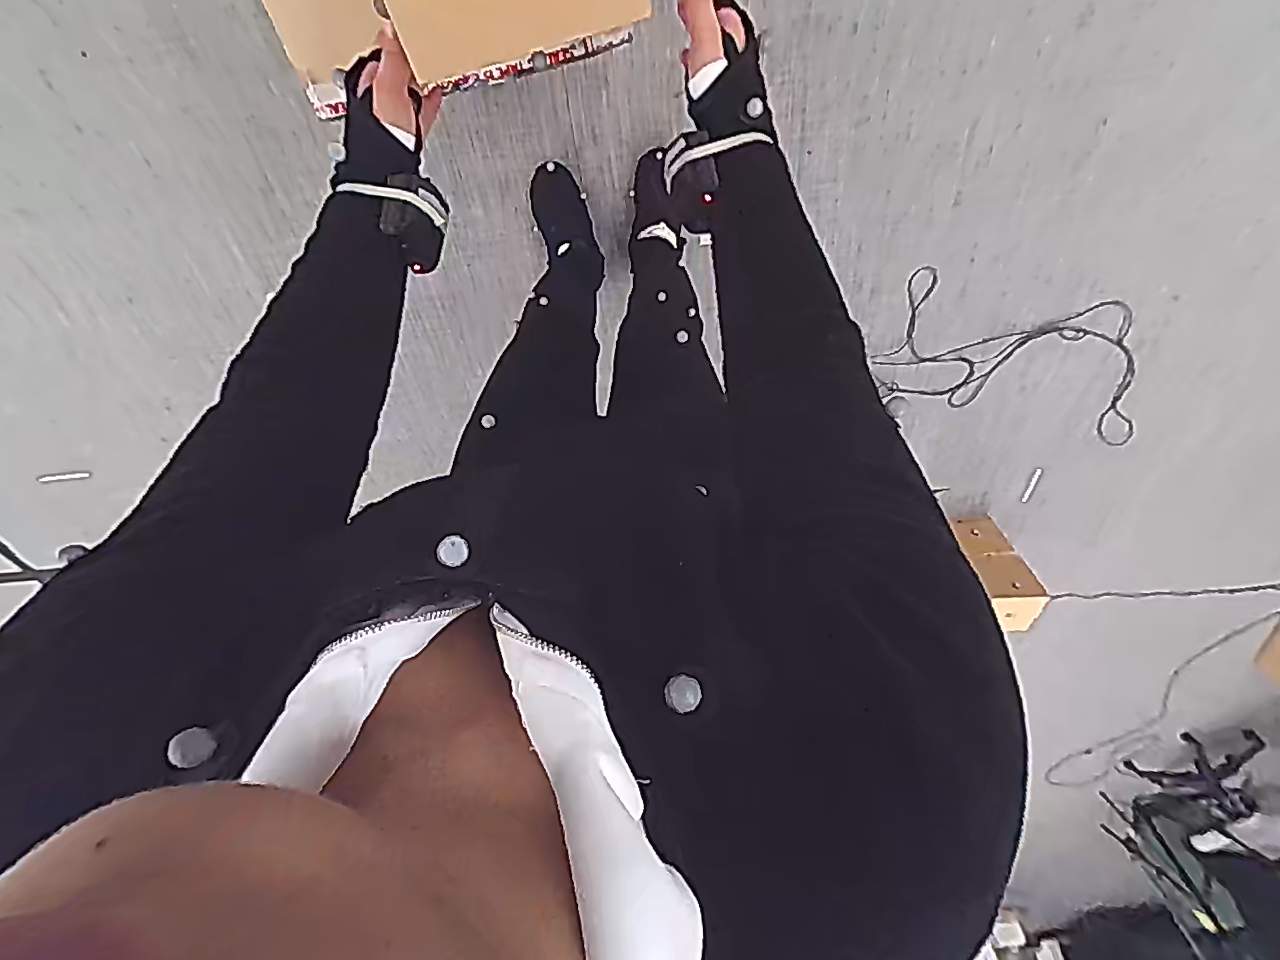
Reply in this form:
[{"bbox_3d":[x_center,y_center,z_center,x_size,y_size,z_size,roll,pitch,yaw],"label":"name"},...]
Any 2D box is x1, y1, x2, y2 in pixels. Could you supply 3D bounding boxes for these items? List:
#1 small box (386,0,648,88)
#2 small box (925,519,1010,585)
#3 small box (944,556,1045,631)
[{"bbox_3d":[-0.094,-0.401,0.365,0.168,0.176,0.179,-12,132,5],"label":"small box"},{"bbox_3d":[1.084,0.243,1.805,0.168,0.176,0.179,-6,129,2],"label":"small box"},{"bbox_3d":[1.093,0.350,1.682,0.179,0.176,0.168,-1,129,0],"label":"small box"}]
